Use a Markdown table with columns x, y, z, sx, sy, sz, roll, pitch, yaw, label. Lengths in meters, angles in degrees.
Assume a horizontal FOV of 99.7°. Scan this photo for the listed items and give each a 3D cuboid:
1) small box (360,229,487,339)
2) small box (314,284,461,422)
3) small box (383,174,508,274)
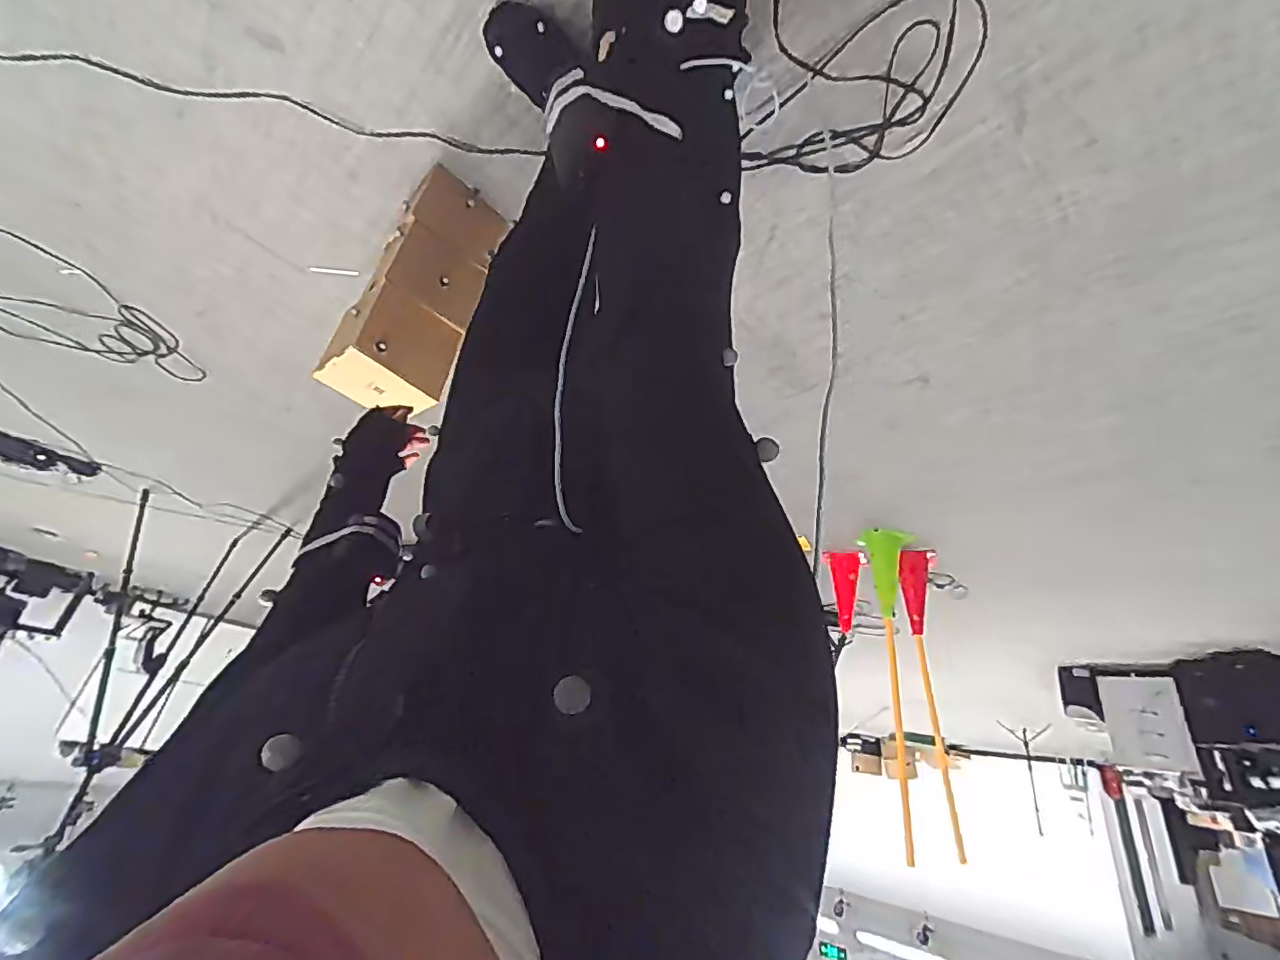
| x | y | z | sx | sy | sz | roll | pitch | yaw | label |
| --- | --- | --- | --- | --- | --- | --- | --- | --- | --- |
| -0.449 | -0.386 | 1.122 | 0.168 | 0.176 | 0.179 | -17 | 144 | 41 | small box |
| -0.481 | -0.243 | 1.052 | 0.168 | 0.176 | 0.179 | -13 | 144 | 37 | small box |
| -0.424 | -0.535 | 1.193 | 0.179 | 0.176 | 0.168 | 32 | 148 | -34 | small box |
